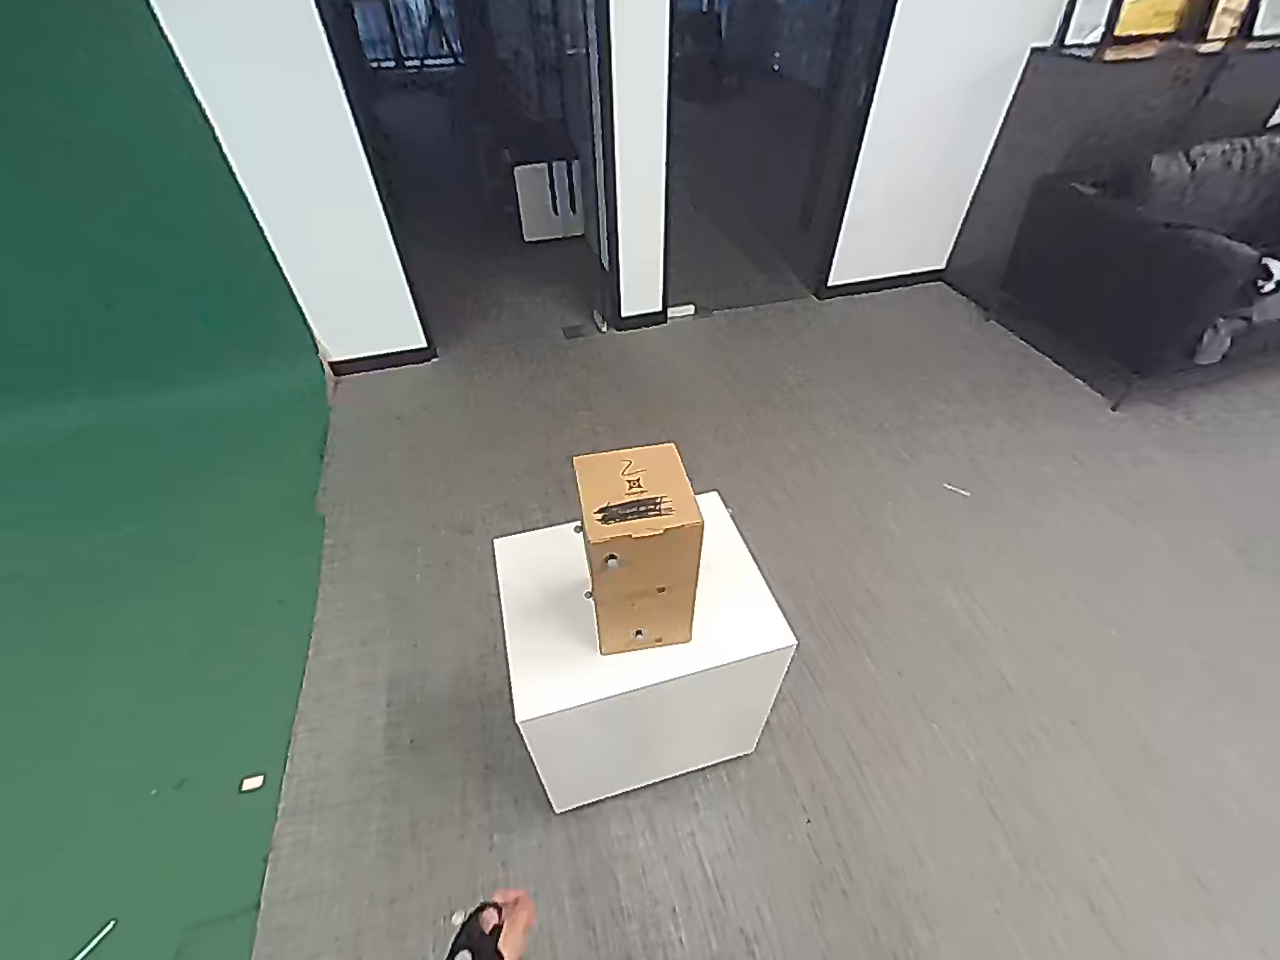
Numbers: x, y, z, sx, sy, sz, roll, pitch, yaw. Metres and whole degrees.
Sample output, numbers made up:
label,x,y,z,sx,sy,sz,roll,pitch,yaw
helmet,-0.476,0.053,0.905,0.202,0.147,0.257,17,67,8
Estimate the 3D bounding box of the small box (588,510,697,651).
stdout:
label,x,y,z,sx,sy,sz,roll,pitch,yaw
small box,-0.002,0.179,0.967,0.168,0.176,0.179,-7,45,-7
